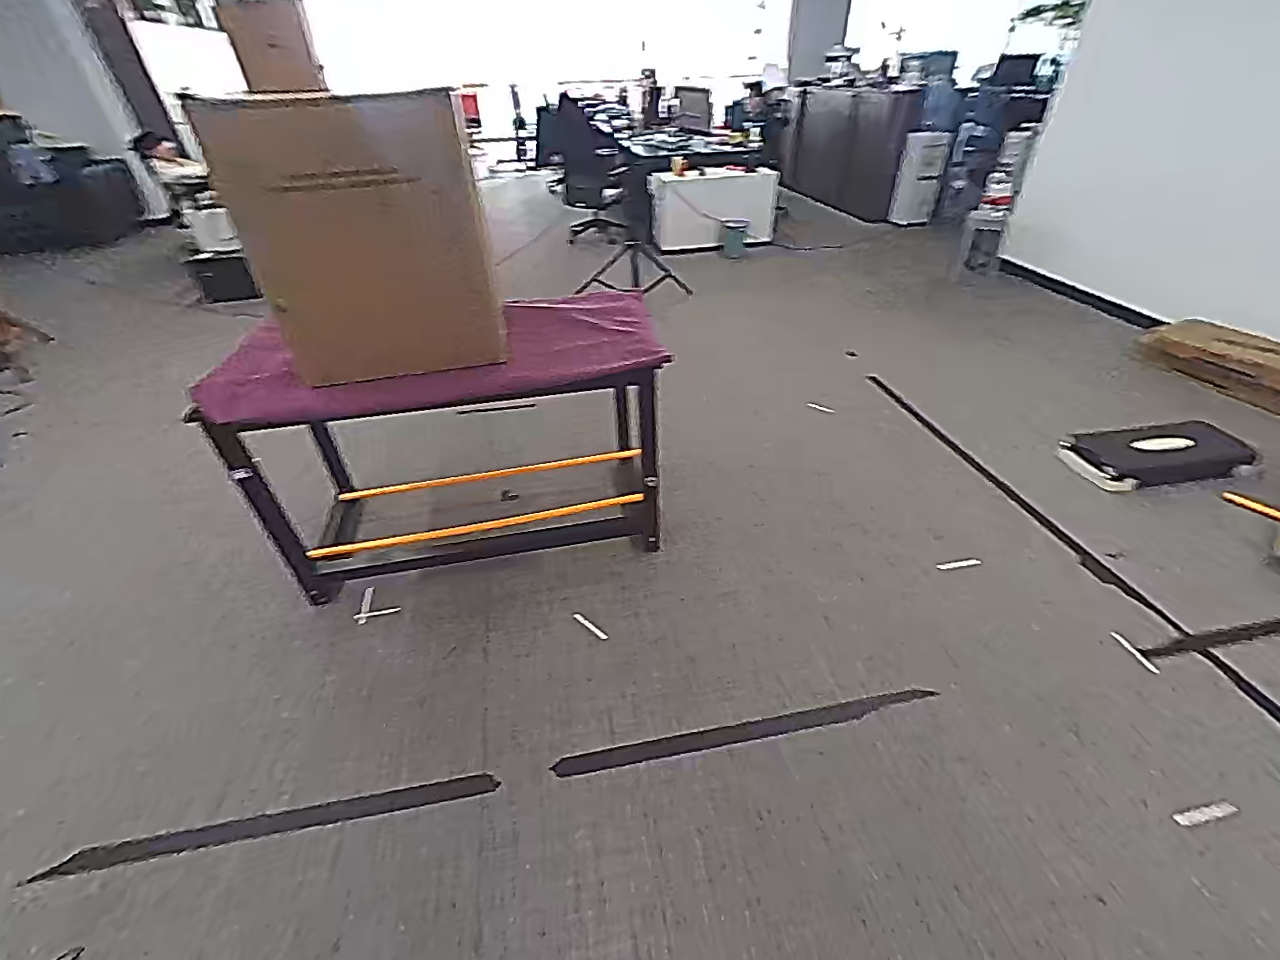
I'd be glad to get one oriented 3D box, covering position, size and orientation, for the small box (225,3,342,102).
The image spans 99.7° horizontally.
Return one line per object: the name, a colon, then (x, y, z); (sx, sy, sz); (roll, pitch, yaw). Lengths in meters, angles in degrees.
small box: (-0.804, -0.972, 1.234); (0.168, 0.176, 0.179); (-12, 39, -14)
